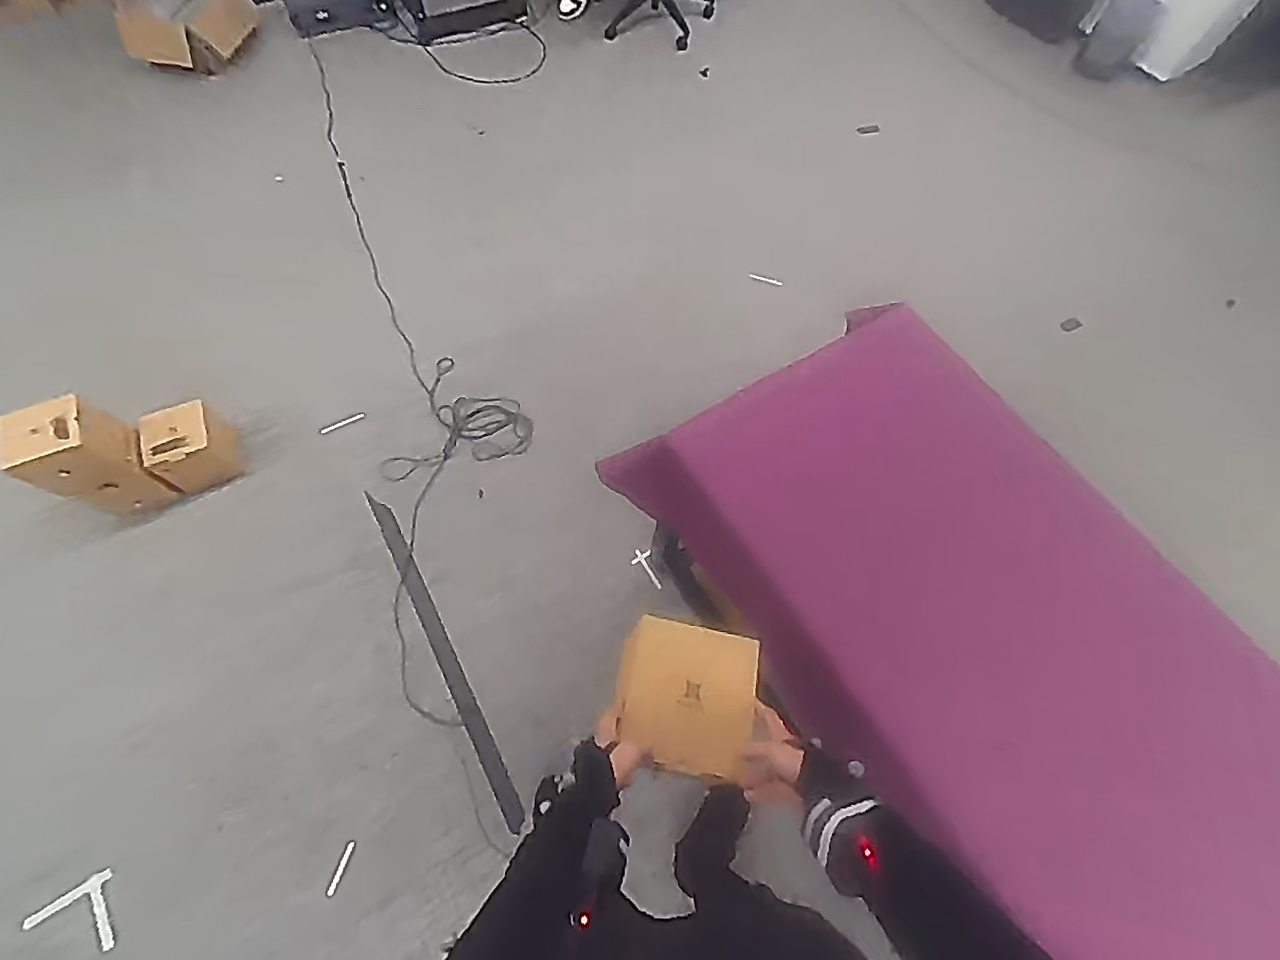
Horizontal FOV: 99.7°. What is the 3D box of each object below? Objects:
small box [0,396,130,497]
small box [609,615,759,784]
[{"bbox_3d":[-1.465,-0.082,1.388,0.179,0.176,0.168,-24,68,-12],"label":"small box"},{"bbox_3d":[0.055,0.309,0.755,0.168,0.176,0.179,13,62,-2],"label":"small box"}]
